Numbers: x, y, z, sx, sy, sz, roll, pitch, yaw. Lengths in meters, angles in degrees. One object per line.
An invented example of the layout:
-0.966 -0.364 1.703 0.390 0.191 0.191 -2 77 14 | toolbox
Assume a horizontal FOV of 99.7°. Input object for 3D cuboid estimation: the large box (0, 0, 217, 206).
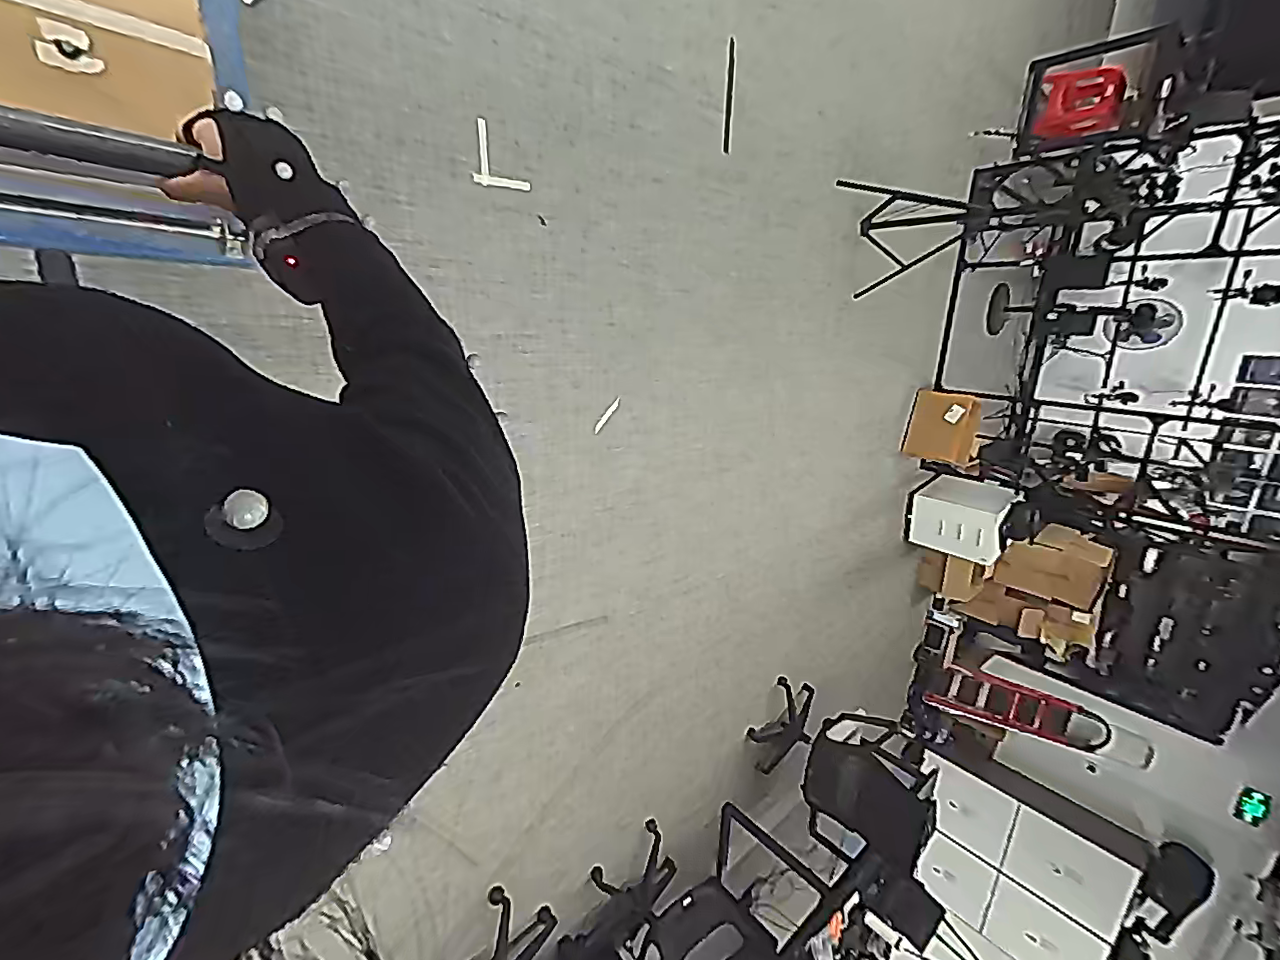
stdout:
-0.837 -0.575 0.698 0.408 0.320 0.320 -10 111 -42 | large box
